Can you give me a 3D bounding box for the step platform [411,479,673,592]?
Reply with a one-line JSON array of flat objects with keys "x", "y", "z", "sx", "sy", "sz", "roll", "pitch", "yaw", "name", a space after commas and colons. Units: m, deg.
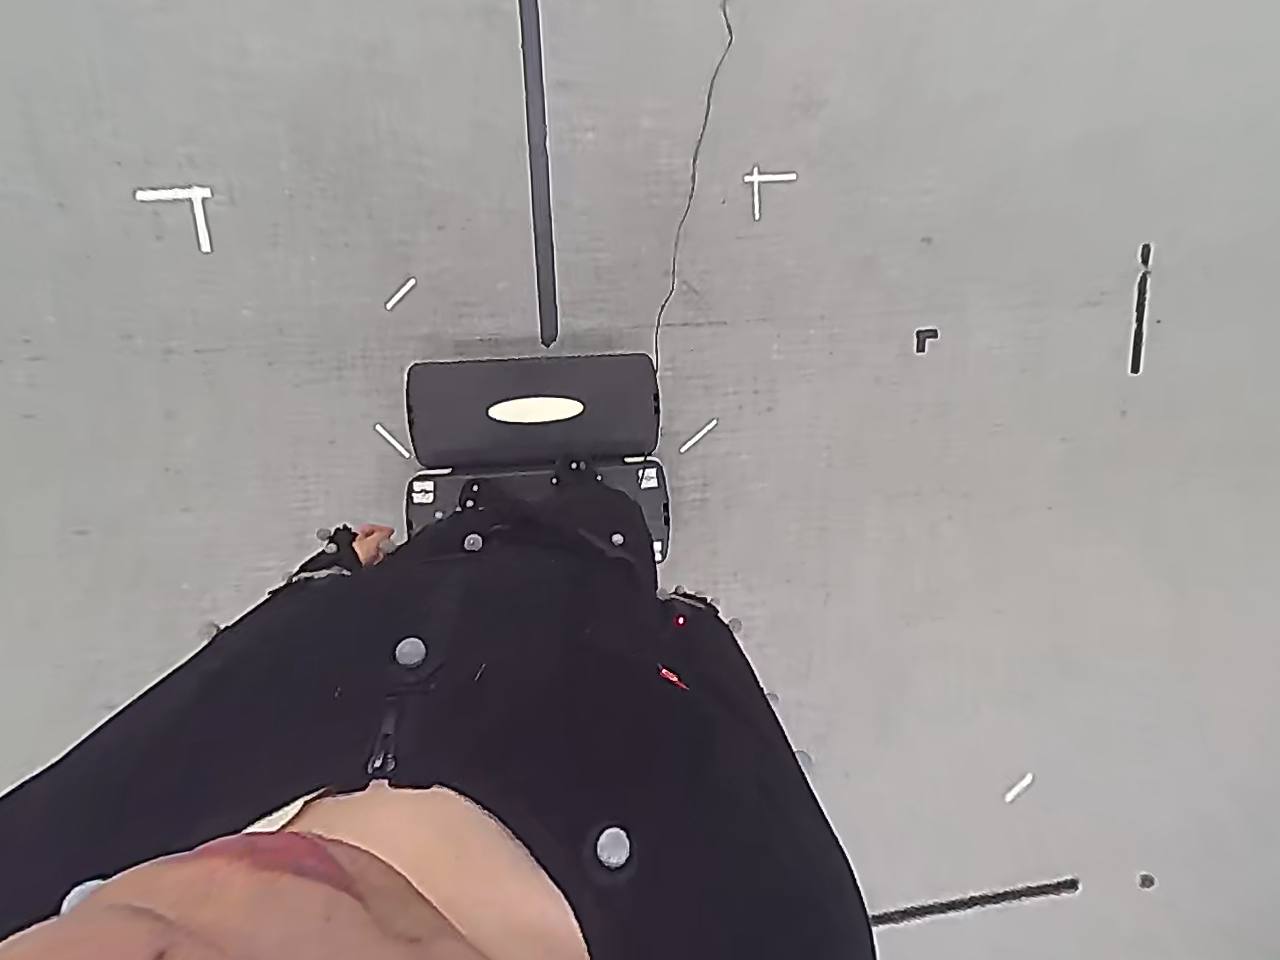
[{"x": -0.252, "y": 0.148, "z": 1.467, "sx": 0.684, "sy": 0.204, "sz": 0.286, "roll": 1, "pitch": 95, "yaw": -5, "name": "step platform"}]
